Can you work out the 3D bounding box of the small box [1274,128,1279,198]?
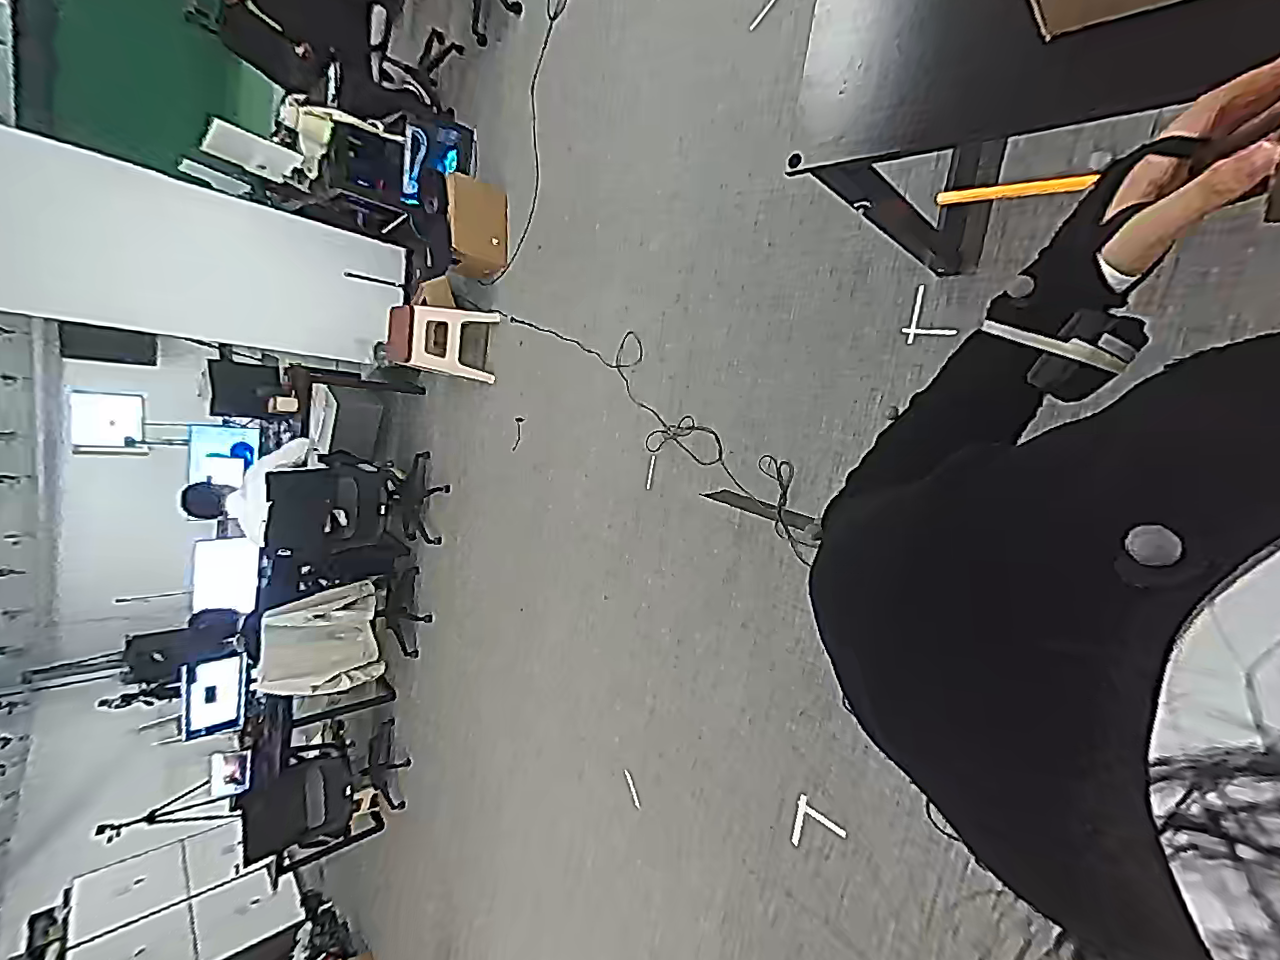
[{"bbox_3d":[0.442,-0.241,0.250,0.168,0.176,0.179,19,111,45],"label":"small box"}]
